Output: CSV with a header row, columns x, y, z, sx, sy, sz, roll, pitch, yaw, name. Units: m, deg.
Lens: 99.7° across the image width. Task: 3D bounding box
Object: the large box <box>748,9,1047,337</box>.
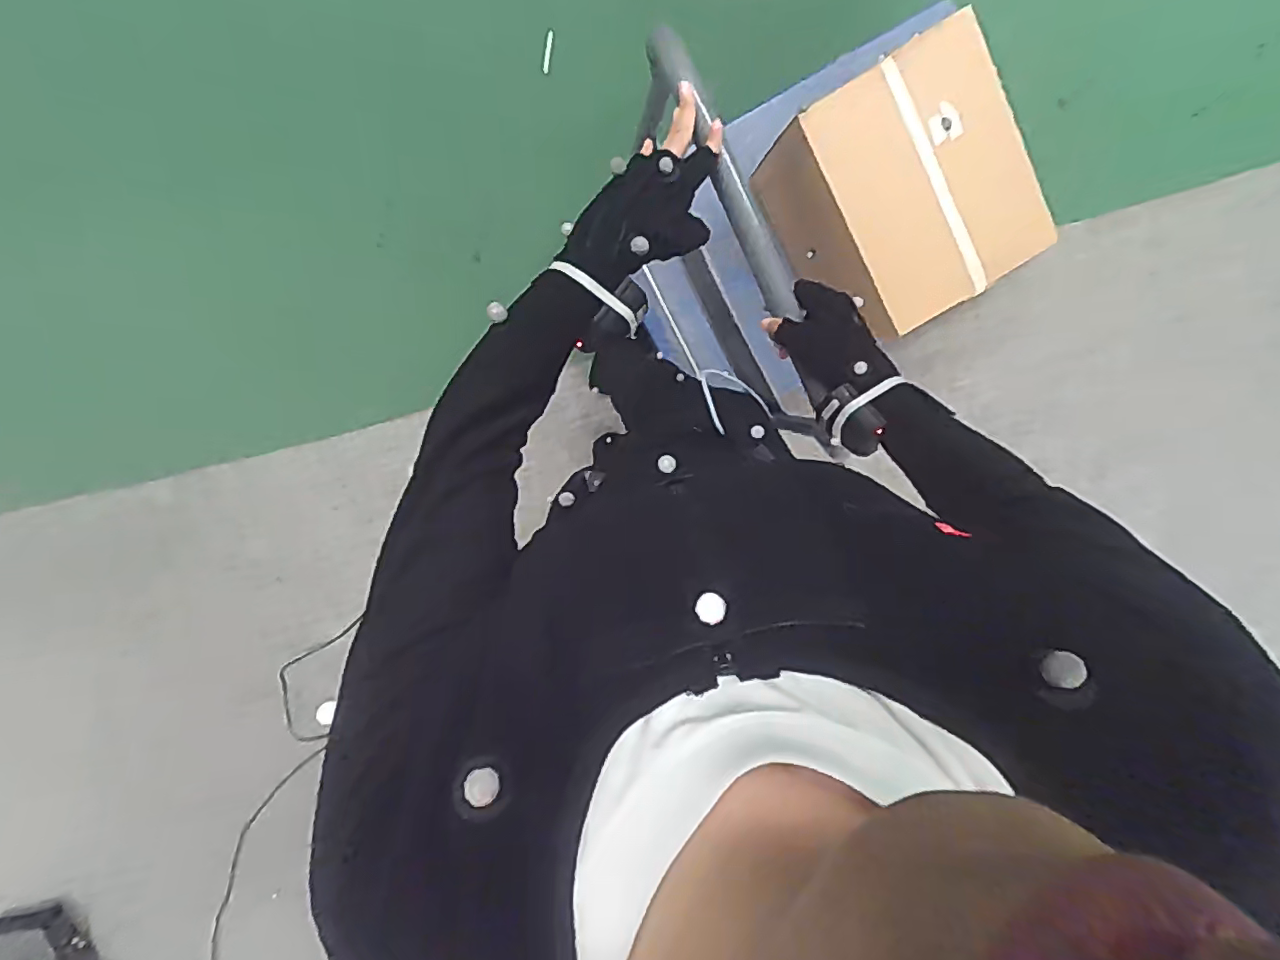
x,y,z,sx,sy,sz,roll,pitch,yaw,name
0.466,-0.537,1.049,0.320,0.320,0.408,-31,101,3,large box
